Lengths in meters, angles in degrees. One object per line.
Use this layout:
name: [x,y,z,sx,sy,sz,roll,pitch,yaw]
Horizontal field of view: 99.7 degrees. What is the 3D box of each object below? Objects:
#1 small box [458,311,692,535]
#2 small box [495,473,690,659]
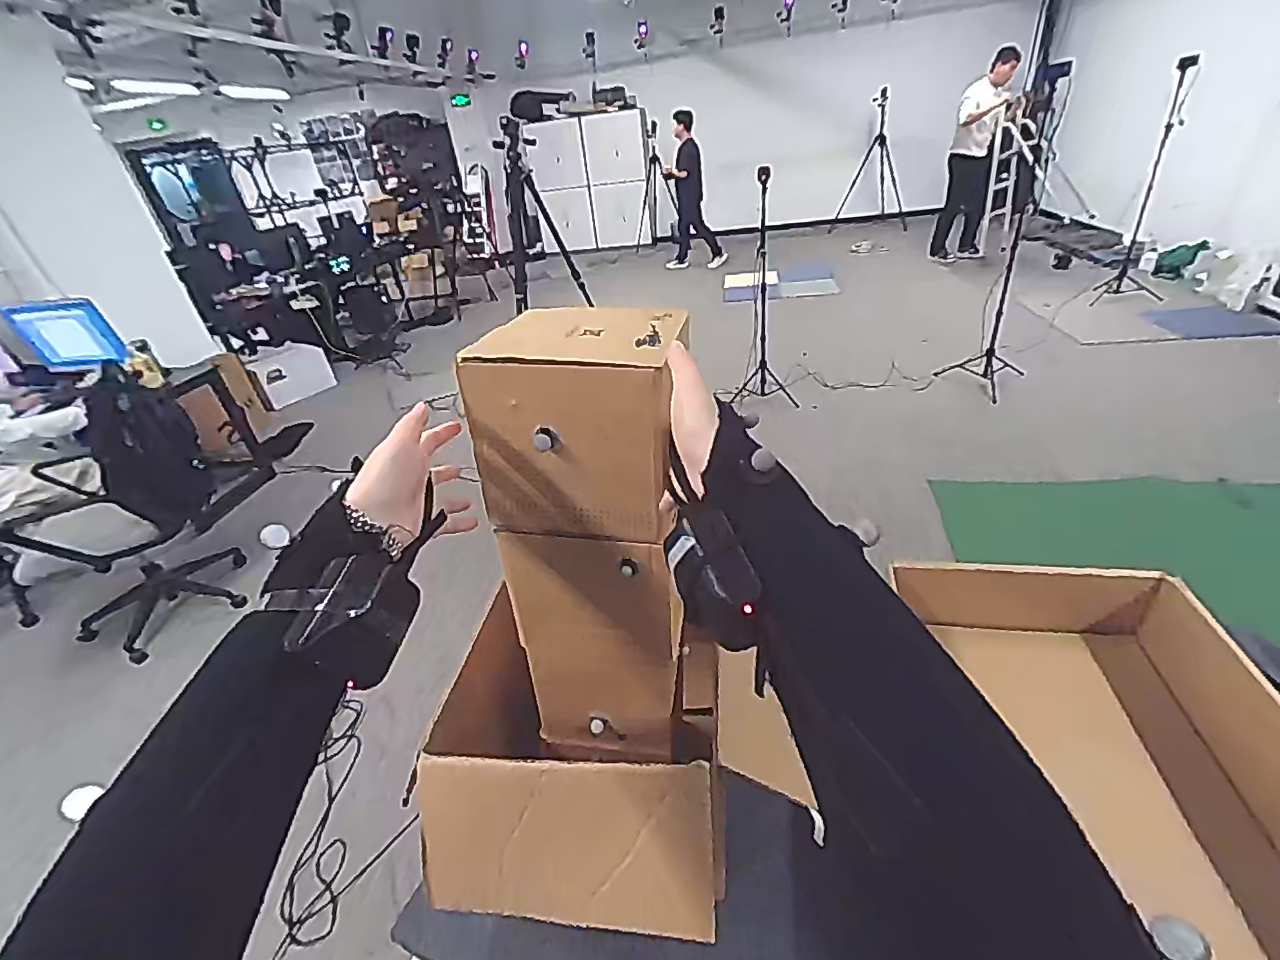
small box: [-0.046,-0.061,0.532,0.179,0.176,0.168,4,32,11]
small box: [-0.038,0.081,0.616,0.179,0.176,0.168,3,32,10]
